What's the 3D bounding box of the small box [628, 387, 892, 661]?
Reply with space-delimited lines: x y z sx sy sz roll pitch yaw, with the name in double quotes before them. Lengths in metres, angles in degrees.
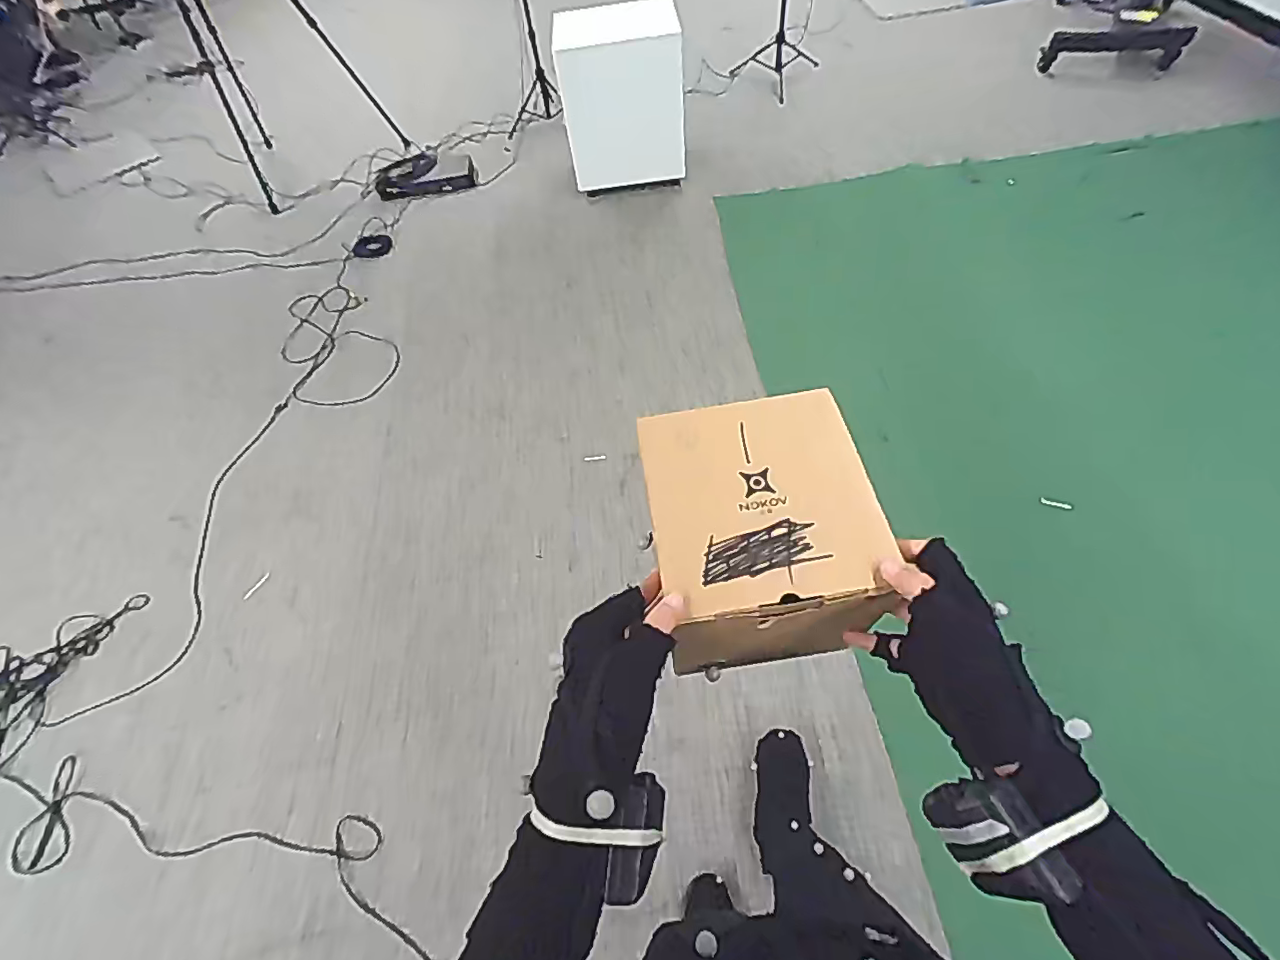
"small box" 0.088 0.049 0.473 0.168 0.176 0.179 -9 58 0
